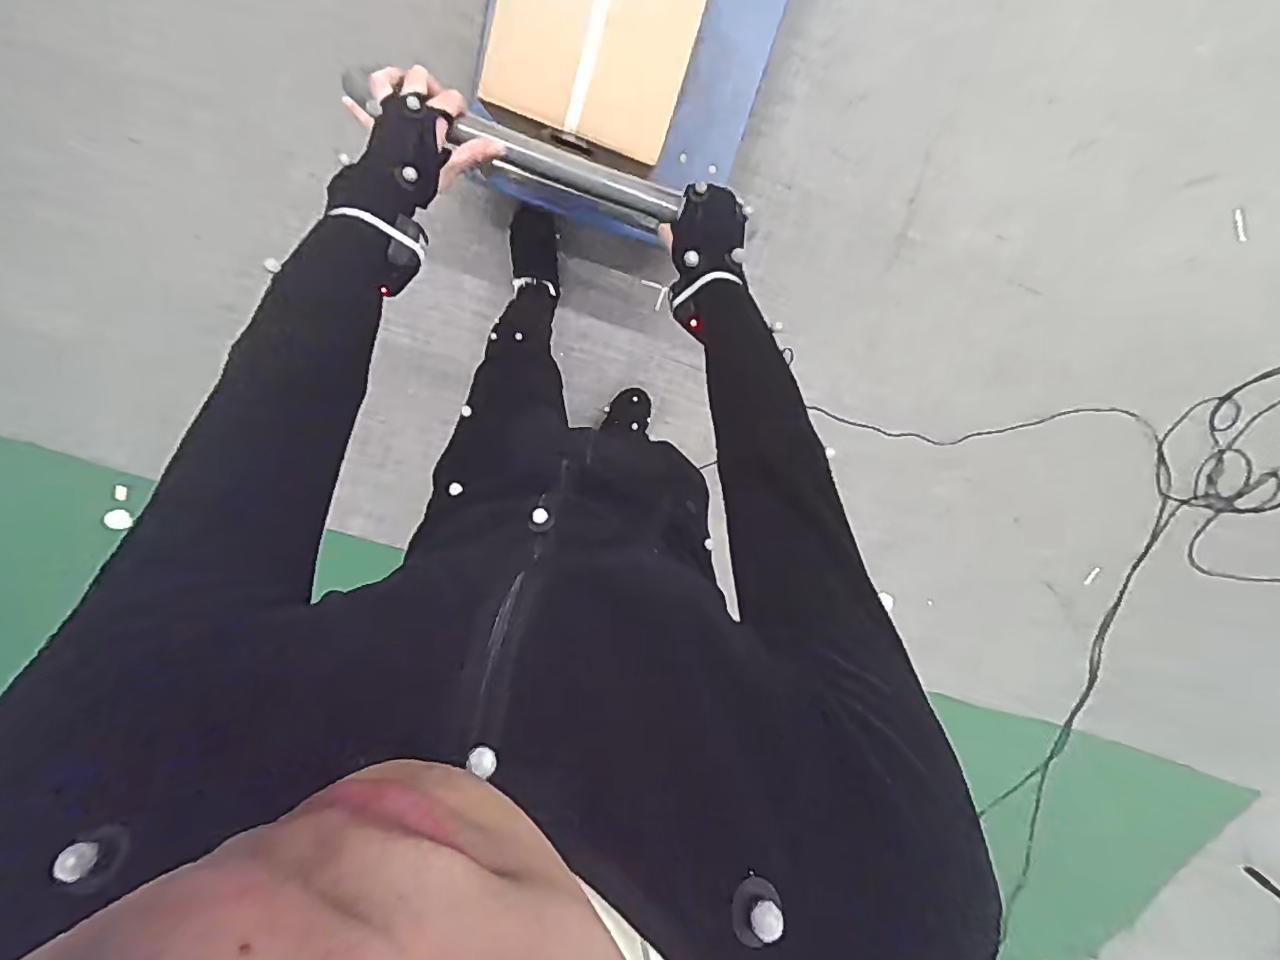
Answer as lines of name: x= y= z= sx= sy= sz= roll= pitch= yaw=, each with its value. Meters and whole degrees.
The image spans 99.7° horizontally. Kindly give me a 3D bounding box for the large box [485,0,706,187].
large box: x=-0.060 y=-0.818 z=0.987 sx=0.320 sy=0.320 sz=0.408 roll=16 pitch=108 yaw=-9
